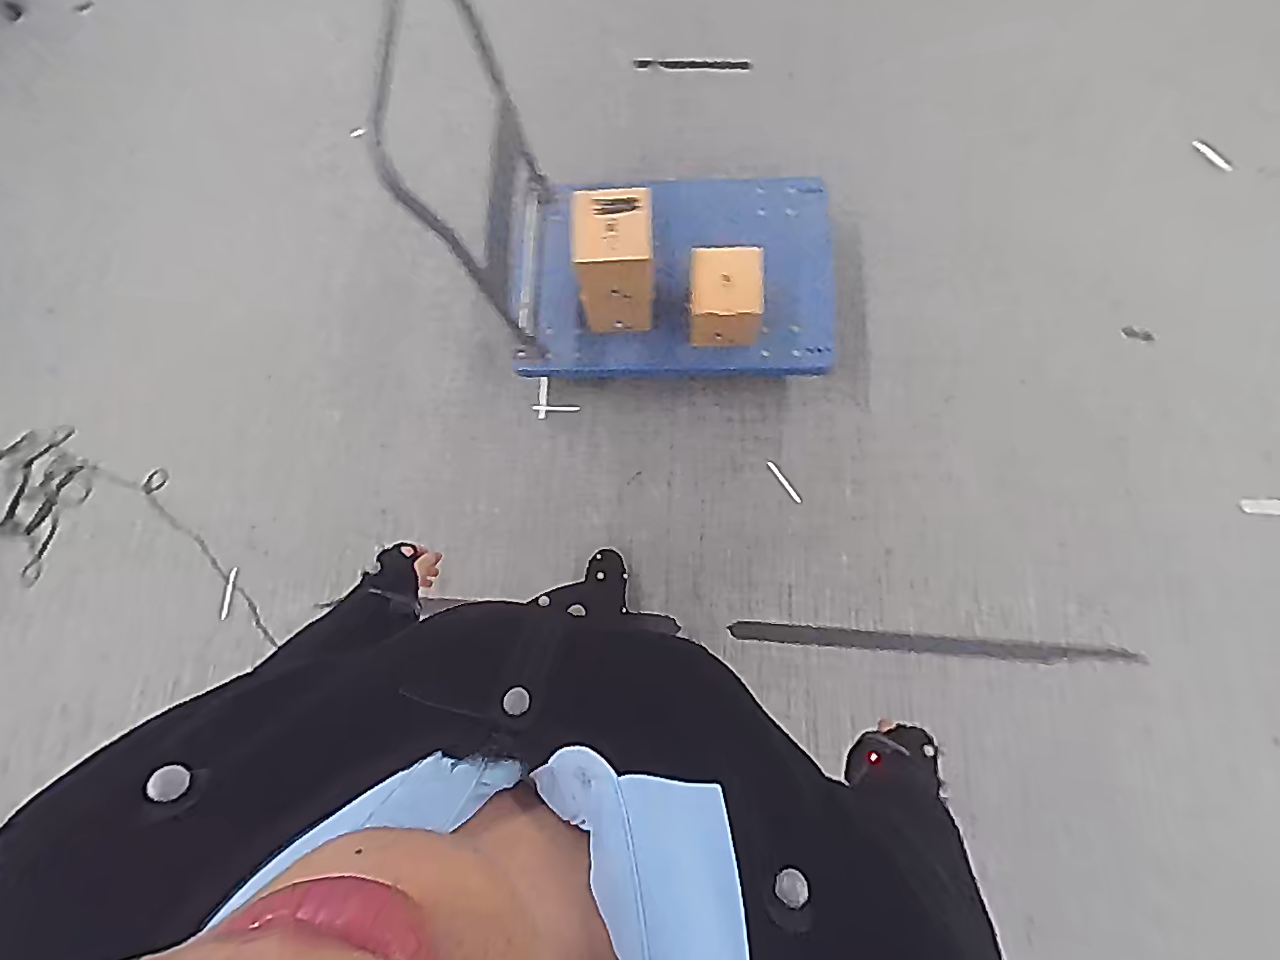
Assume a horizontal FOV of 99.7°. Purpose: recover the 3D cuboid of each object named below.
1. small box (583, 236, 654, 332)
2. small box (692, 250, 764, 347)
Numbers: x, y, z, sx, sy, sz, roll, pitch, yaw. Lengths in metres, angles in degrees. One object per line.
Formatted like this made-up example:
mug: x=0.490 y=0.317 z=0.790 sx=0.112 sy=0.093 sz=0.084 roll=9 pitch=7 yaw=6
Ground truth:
small box: x=-0.051 y=-0.499 z=1.392 sx=0.168 sy=0.176 sz=0.179 roll=0 pitch=78 yaw=4
small box: x=0.218 y=-0.455 z=1.365 sx=0.168 sy=0.176 sz=0.179 roll=1 pitch=78 yaw=4
